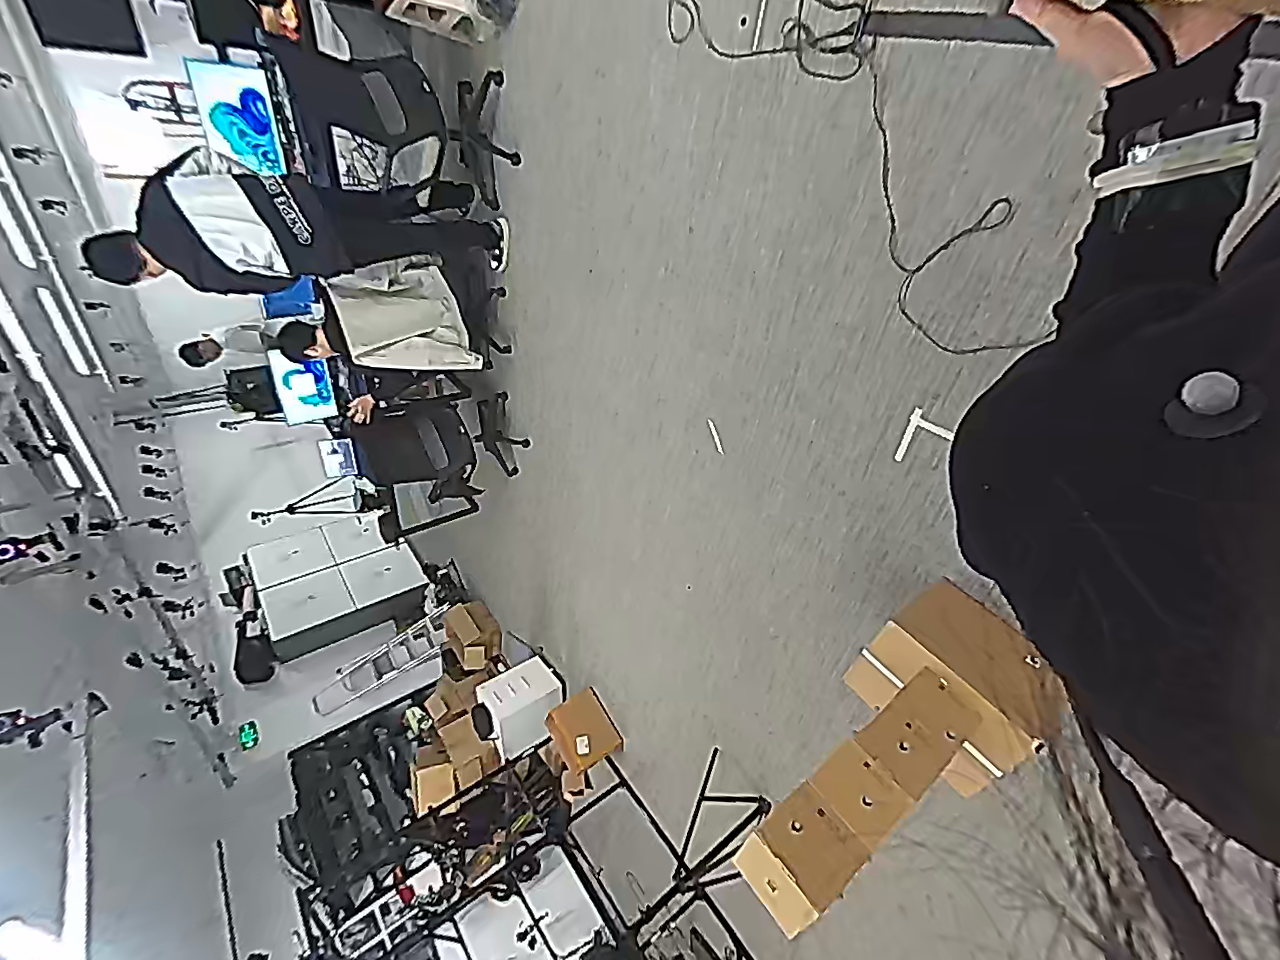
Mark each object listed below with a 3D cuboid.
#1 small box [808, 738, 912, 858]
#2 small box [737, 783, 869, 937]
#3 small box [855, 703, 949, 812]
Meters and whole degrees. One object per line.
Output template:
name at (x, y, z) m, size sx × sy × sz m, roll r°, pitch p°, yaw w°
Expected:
small box at (0.456, 0.704, 1.175) m, size 0.168 × 0.176 × 0.179 m, roll 43°, pitch 138°, yaw 34°
small box at (0.328, 0.755, 1.088) m, size 0.168 × 0.176 × 0.179 m, roll 43°, pitch 140°, yaw 36°
small box at (0.584, 0.661, 1.265) m, size 0.168 × 0.176 × 0.179 m, roll 45°, pitch 138°, yaw 33°
